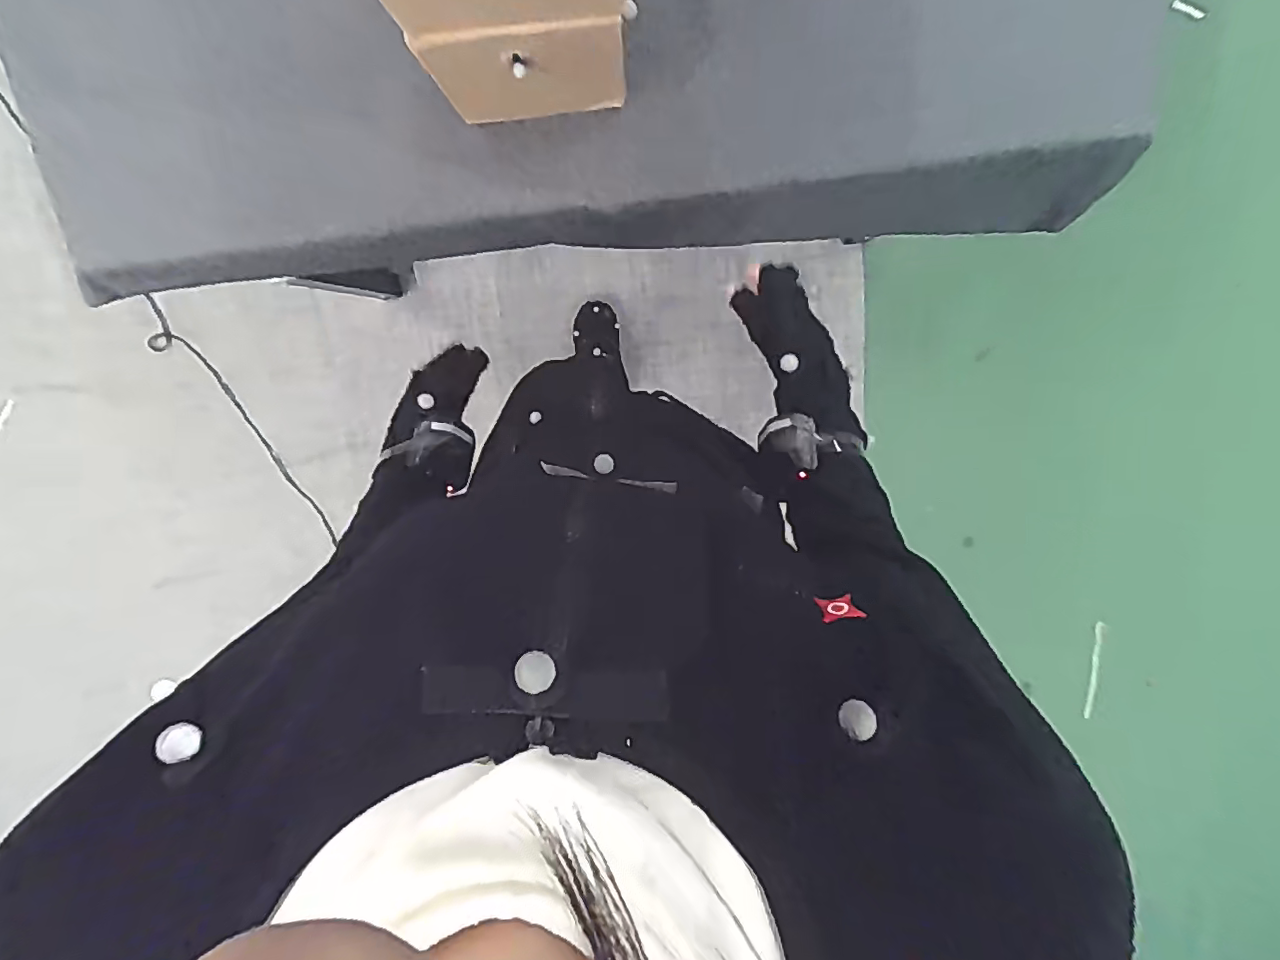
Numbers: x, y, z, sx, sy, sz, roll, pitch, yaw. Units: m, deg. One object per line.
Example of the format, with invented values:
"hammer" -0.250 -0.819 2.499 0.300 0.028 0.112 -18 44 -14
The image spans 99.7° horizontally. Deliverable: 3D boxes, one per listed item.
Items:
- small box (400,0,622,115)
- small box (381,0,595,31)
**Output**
"small box" -0.112 -0.458 0.488 0.179 0.176 0.168 -6 106 0
"small box" -0.109 -0.417 0.329 0.179 0.176 0.168 -4 106 2
